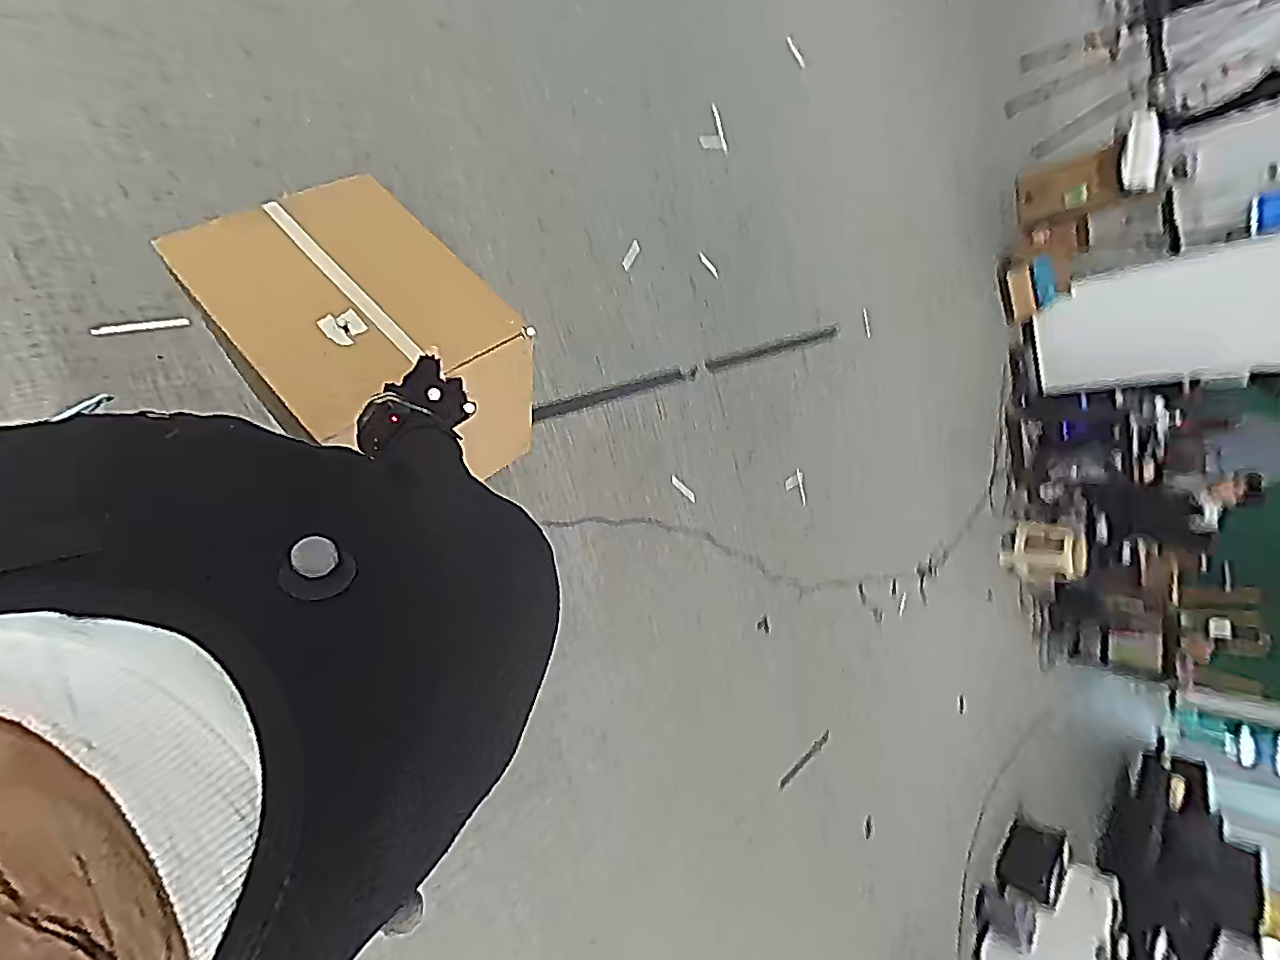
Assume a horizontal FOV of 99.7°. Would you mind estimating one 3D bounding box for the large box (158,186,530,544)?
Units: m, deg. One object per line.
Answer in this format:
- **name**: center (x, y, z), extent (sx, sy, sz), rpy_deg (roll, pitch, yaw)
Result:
- **large box**: center (-0.426, -0.178, 0.864), extent (0.320, 0.320, 0.408), rpy_deg (-38, 75, -26)
